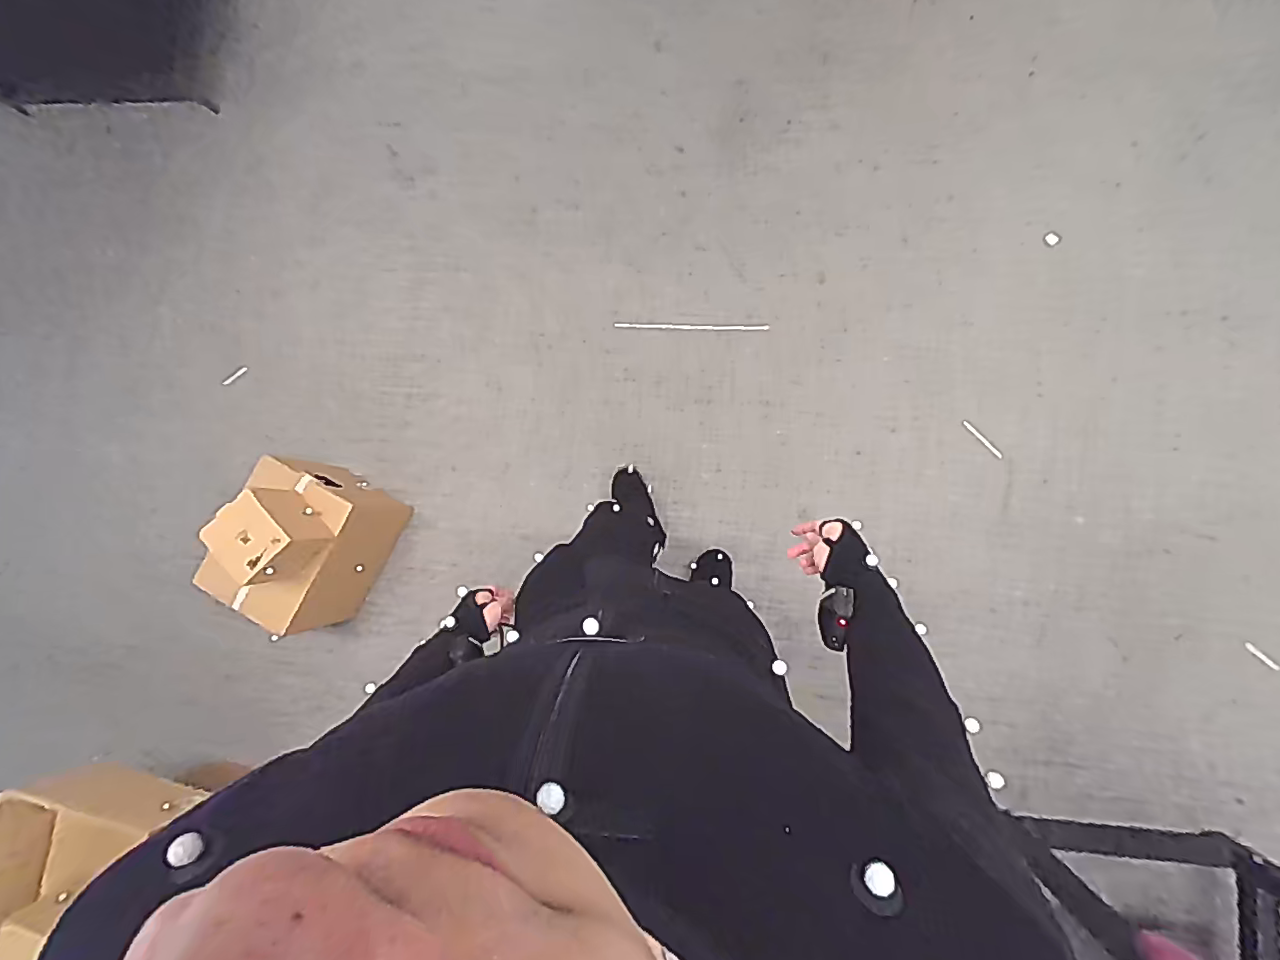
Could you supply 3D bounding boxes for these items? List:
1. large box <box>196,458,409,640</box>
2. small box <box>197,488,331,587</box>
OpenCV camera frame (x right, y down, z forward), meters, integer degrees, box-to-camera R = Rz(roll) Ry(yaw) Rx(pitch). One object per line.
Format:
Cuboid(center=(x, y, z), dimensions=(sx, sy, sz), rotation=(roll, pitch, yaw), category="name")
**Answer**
Cuboid(center=(-0.967, 0.189, 1.594), dimensions=(0.320, 0.320, 0.408), rotation=(27, 89, 8), category="large box")
Cuboid(center=(-0.925, 0.142, 1.345), dimensions=(0.168, 0.176, 0.179), rotation=(-43, 83, 1), category="small box")
